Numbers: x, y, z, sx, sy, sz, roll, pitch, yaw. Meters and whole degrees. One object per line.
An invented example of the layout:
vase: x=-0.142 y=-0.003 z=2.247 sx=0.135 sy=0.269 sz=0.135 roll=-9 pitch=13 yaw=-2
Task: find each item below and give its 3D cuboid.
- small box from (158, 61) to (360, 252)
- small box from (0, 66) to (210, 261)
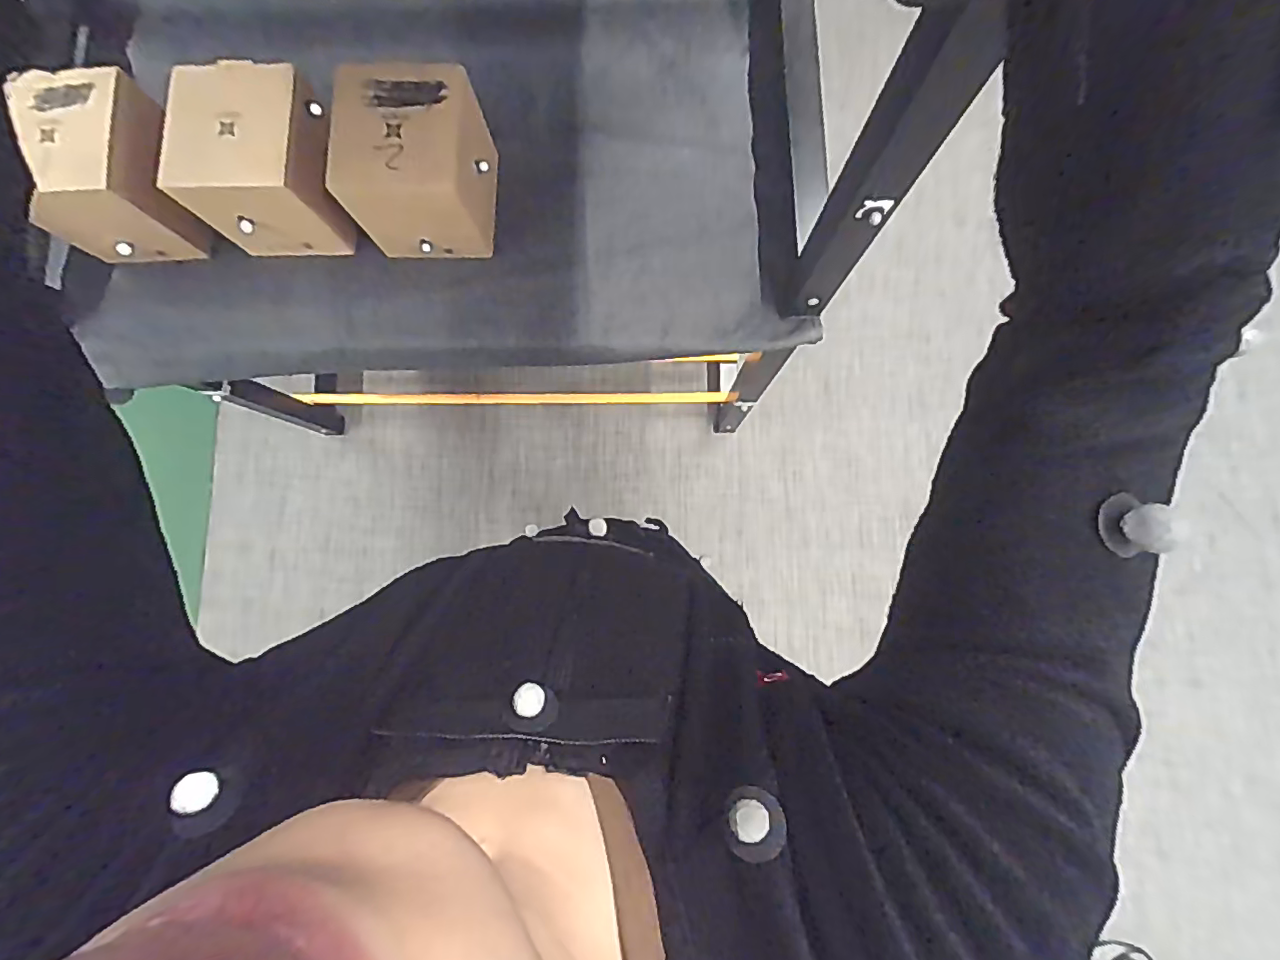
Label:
small box: x=-0.522 y=-0.443 z=0.766 sx=0.168 sy=0.176 sz=0.179 roll=0 pitch=82 yaw=0
small box: x=-0.749 y=-0.436 z=0.766 sx=0.168 sy=0.176 sz=0.179 roll=-3 pitch=83 yaw=1
